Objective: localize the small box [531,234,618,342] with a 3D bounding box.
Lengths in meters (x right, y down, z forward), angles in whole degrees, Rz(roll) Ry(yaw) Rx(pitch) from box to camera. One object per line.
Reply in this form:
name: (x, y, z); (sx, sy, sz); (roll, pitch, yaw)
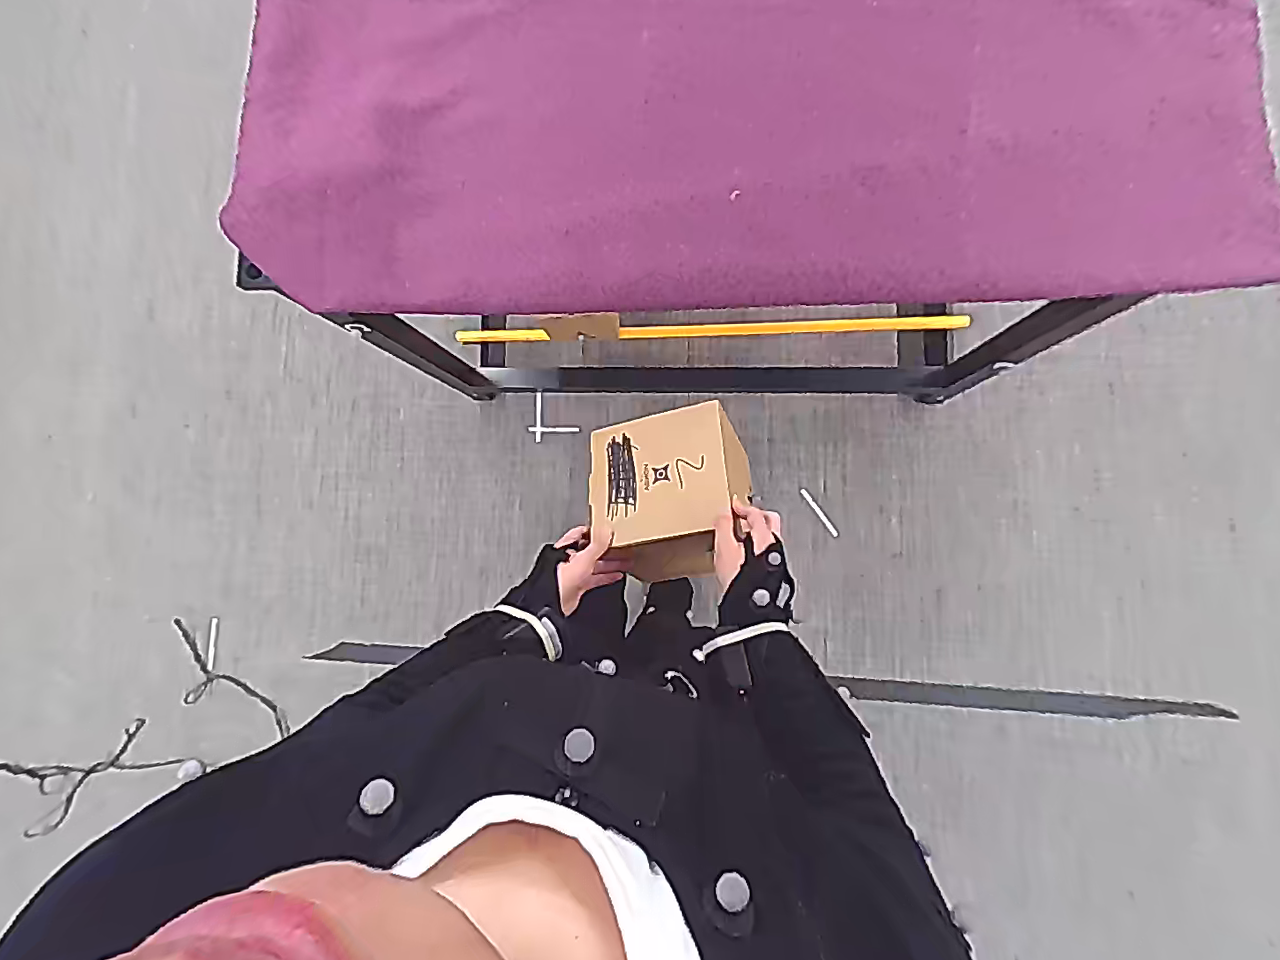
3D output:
small box: (-0.143, -0.425, 1.219); (0.168, 0.176, 0.179); (-2, 87, 6)
